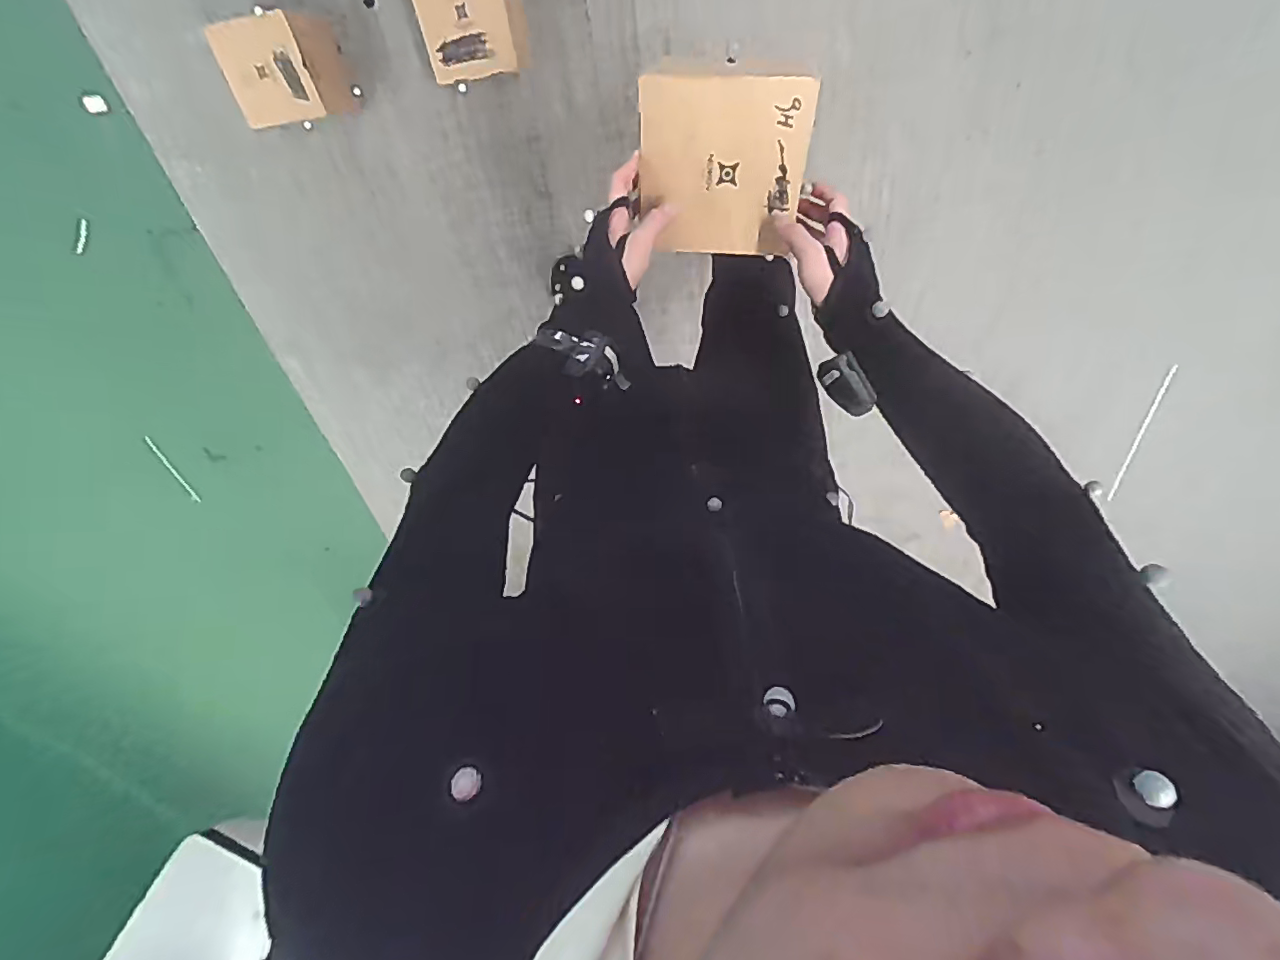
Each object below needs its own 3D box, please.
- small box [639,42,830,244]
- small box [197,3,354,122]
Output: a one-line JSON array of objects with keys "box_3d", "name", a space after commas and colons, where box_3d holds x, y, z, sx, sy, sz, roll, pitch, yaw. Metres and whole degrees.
[{"box_3d": [0.099, -0.380, 0.607, 0.179, 0.176, 0.168, 6, 132, 7], "name": "small box"}, {"box_3d": [-0.707, -0.833, 1.081, 0.179, 0.176, 0.168, -3, 128, 9], "name": "small box"}]
